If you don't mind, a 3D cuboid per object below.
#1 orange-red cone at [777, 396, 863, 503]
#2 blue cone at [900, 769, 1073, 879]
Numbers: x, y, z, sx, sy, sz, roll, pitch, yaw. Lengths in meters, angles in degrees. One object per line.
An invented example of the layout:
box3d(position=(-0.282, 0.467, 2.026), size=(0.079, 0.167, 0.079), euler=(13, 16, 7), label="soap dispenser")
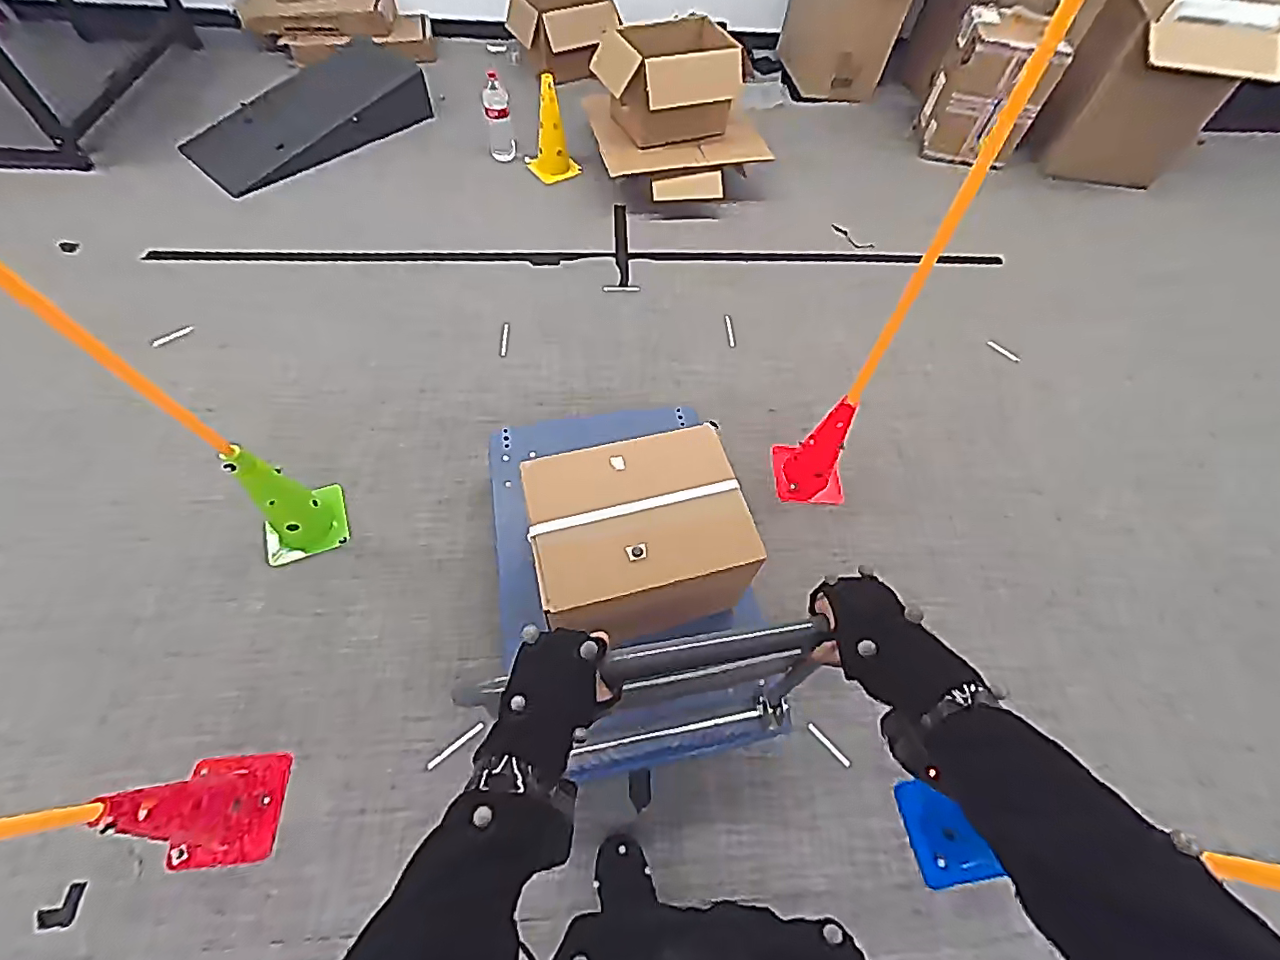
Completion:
box3d(position=(0.528, -0.109, 1.494), size=(0.199, 0.360, 0.198), euler=(5, 60, -2), label="orange-red cone")
box3d(position=(0.699, 0.672, 1.057), size=(0.193, 0.380, 0.192), euler=(-4, 58, -7), label="blue cone")
